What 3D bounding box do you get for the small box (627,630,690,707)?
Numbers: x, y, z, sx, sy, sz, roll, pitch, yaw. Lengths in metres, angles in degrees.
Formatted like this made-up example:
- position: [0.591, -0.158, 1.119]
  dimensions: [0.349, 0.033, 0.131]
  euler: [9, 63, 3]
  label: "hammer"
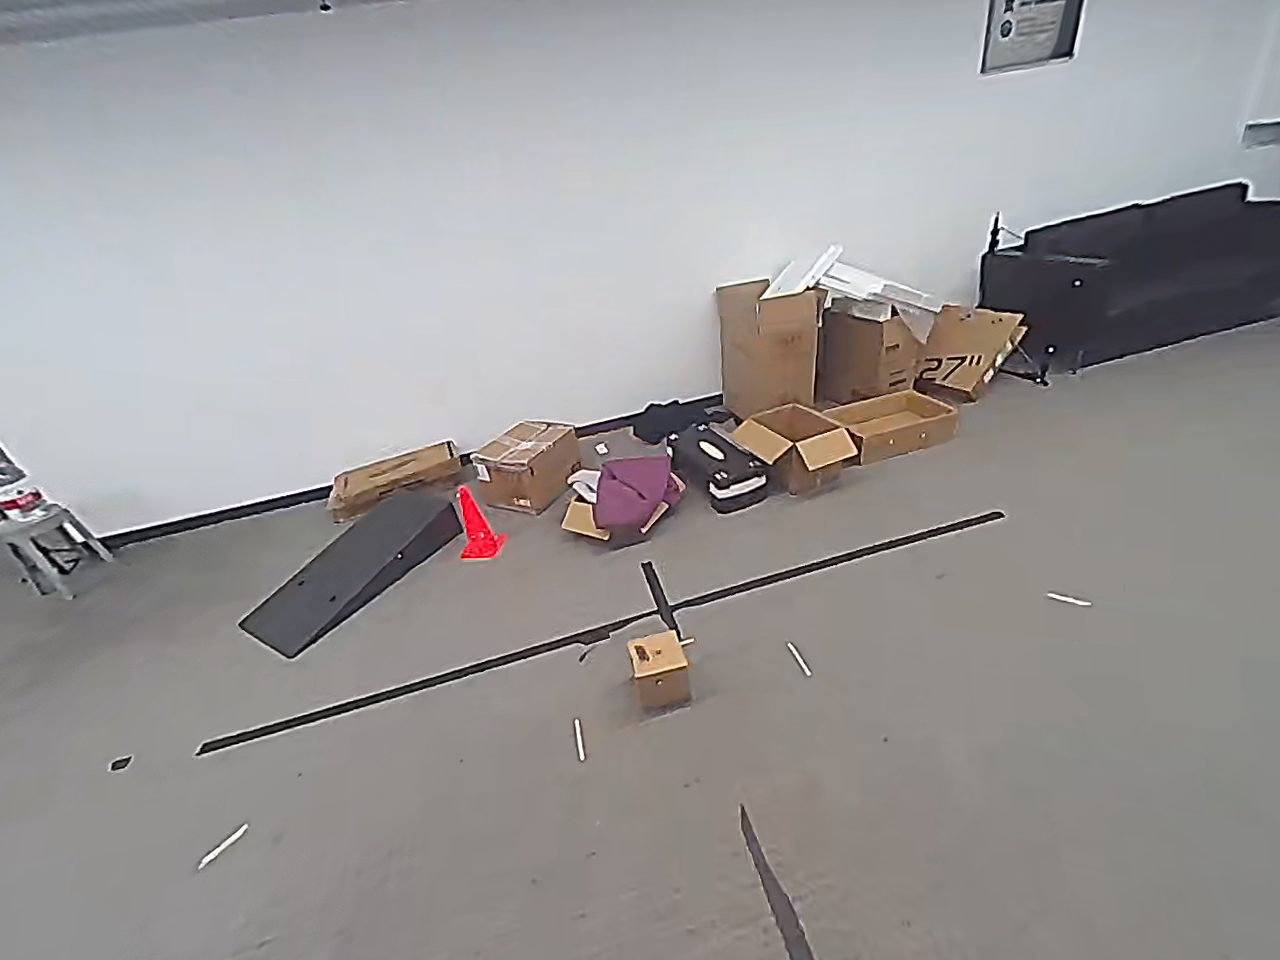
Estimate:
- position: [0.064, 0.646, 1.845]
  dimensions: [0.179, 0.176, 0.168]
  euler: [-12, 30, -6]
  label: "small box"
